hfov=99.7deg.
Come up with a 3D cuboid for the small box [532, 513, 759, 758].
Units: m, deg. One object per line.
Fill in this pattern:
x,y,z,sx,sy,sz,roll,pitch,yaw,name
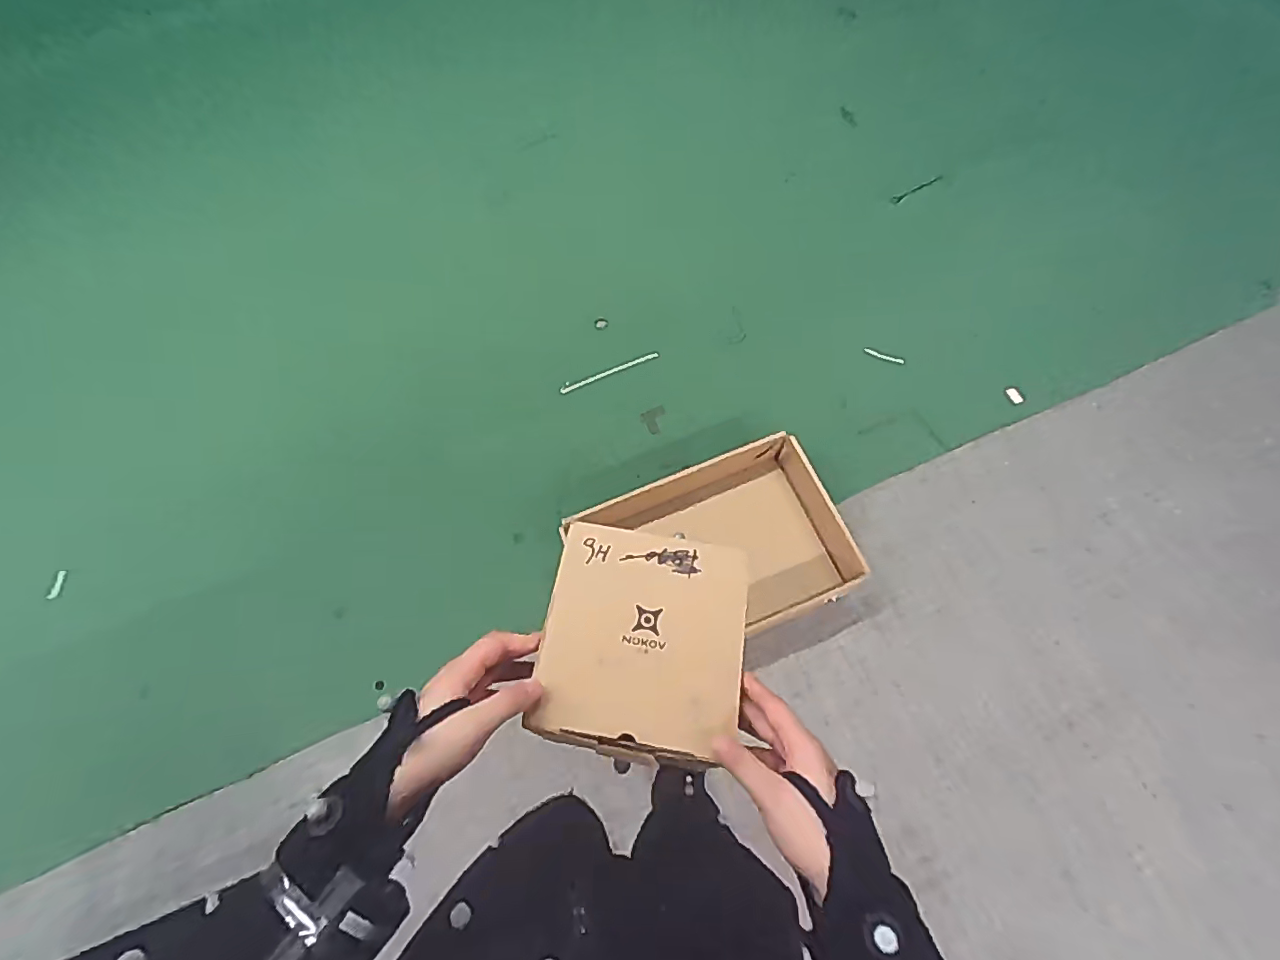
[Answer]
0.009,0.154,0.514,0.168,0.176,0.179,9,62,2,small box
